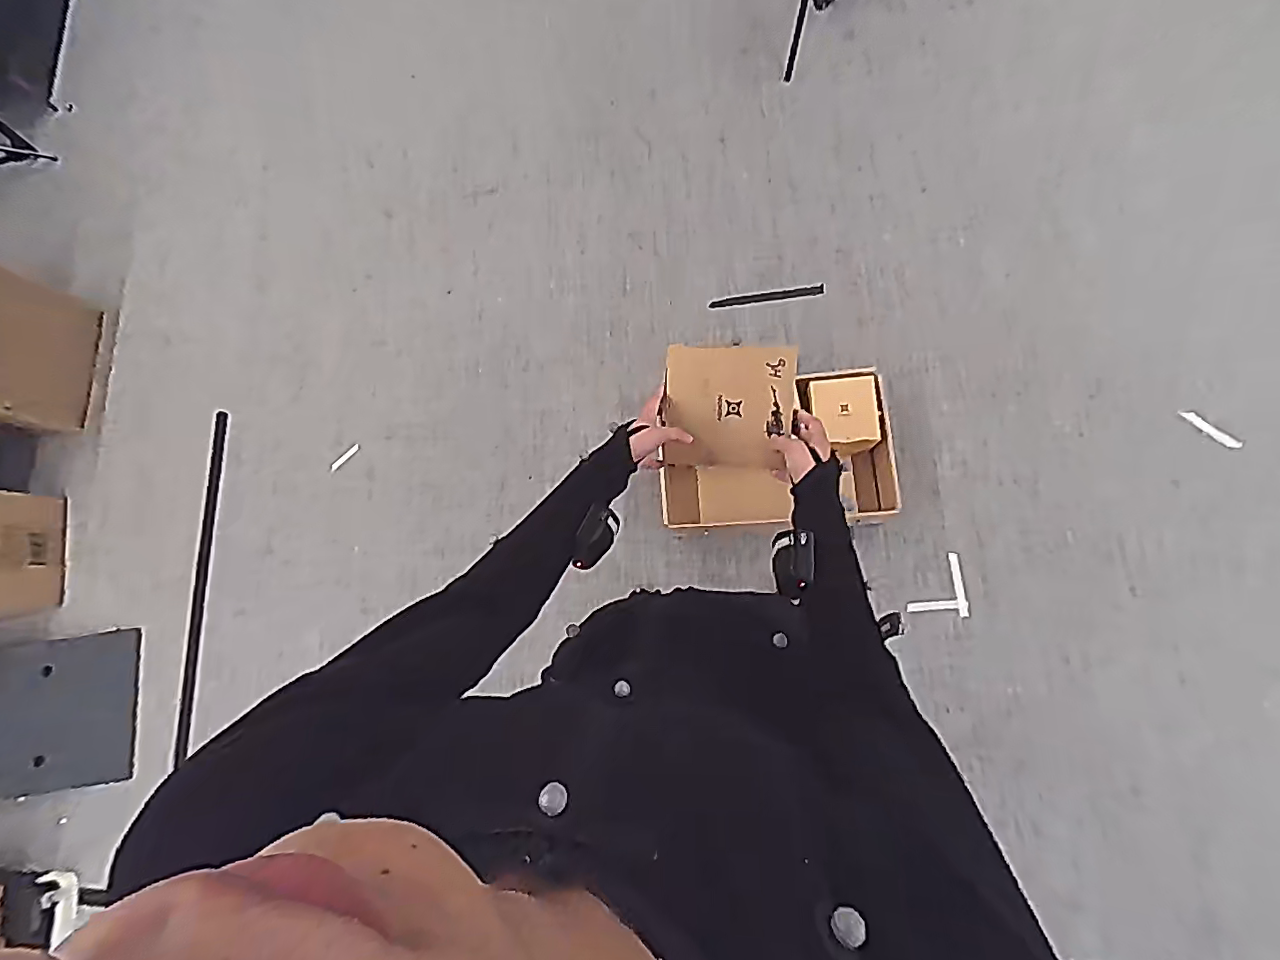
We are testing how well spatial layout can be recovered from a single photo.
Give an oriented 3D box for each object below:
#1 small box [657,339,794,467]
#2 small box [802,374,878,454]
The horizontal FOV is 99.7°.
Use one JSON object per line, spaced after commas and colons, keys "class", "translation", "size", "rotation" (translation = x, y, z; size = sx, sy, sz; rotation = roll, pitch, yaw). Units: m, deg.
{"class": "small box", "translation": [0.130, -0.120, 0.808], "size": [0.179, 0.176, 0.168], "rotation": [5, 104, 12]}
{"class": "small box", "translation": [0.549, -0.177, 1.503], "size": [0.168, 0.176, 0.179], "rotation": [-4, 81, 10]}
